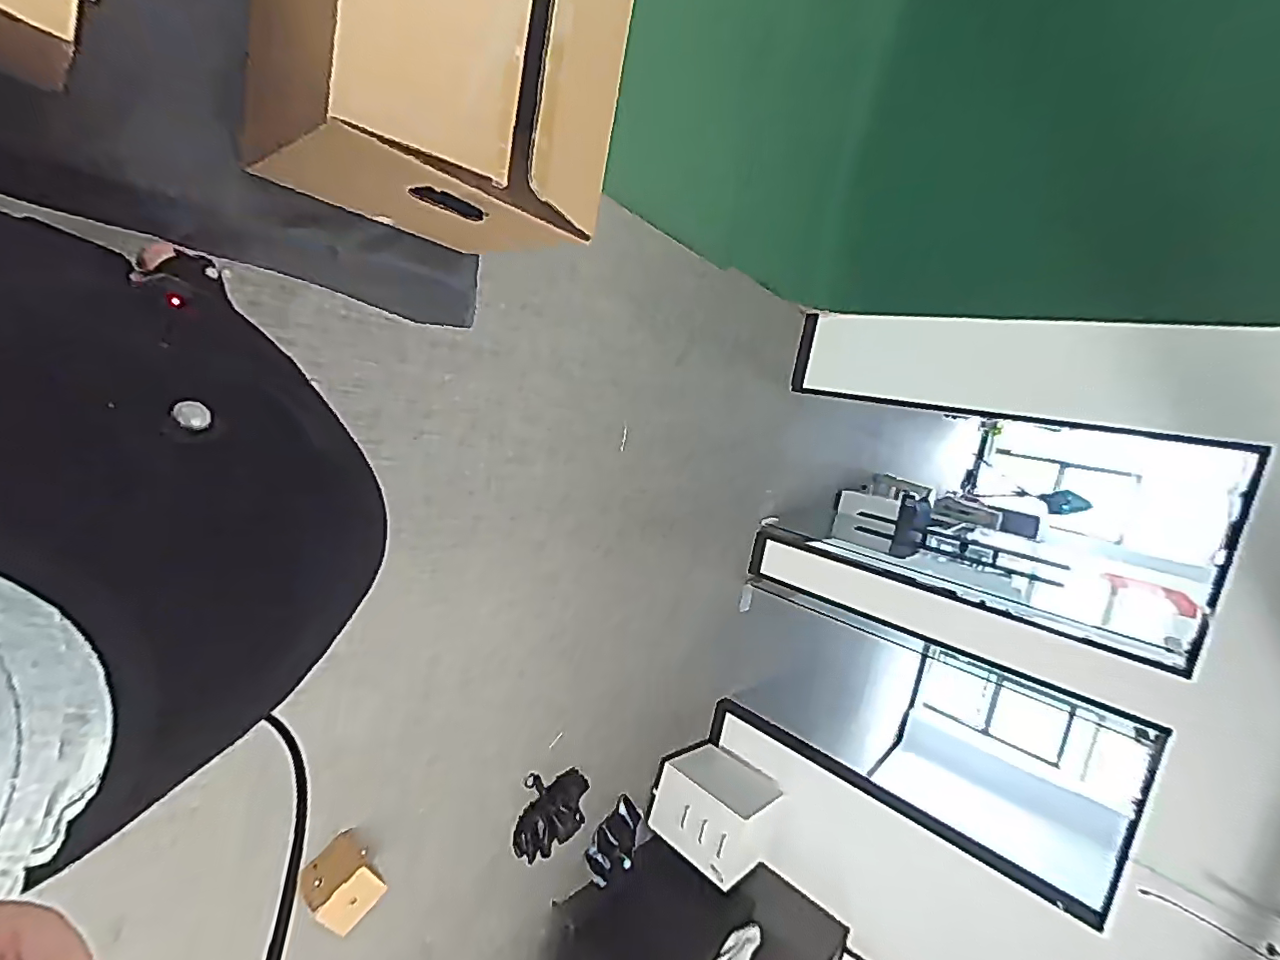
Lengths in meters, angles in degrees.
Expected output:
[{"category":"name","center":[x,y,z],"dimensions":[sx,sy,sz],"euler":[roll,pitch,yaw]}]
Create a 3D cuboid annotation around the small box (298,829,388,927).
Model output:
[{"category":"small box","center":[-0.958,1.273,1.740],"dimensions":[0.168,0.176,0.179],"euler":[-41,133,-32]}]
